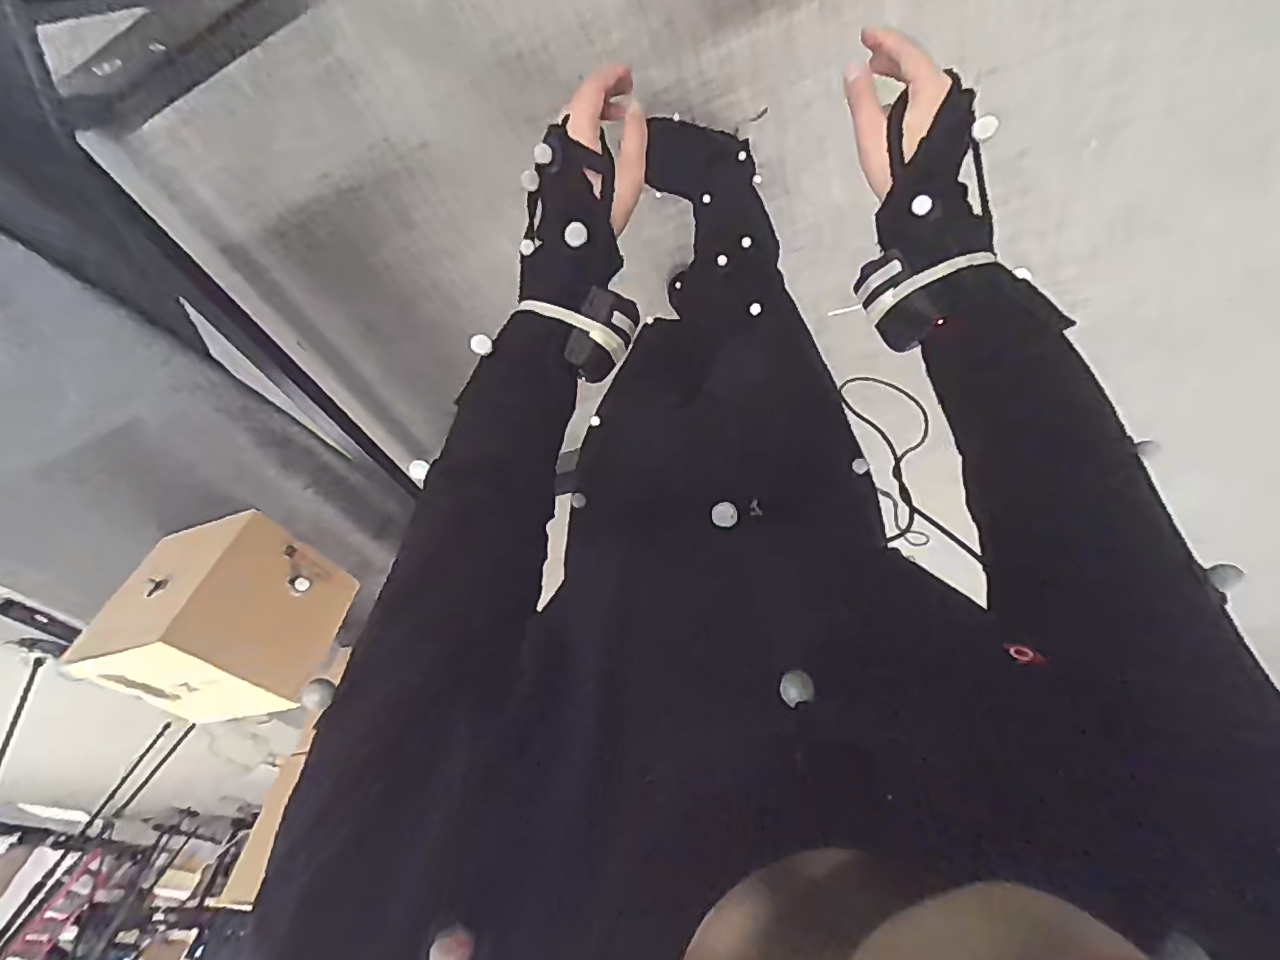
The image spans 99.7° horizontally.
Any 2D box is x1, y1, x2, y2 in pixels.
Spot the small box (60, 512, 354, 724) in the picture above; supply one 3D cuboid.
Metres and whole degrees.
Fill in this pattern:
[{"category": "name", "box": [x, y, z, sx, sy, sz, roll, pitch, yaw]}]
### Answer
[{"category": "small box", "box": [-0.480, 0.162, 0.631, 0.179, 0.176, 0.168, -15, 133, 19]}]
